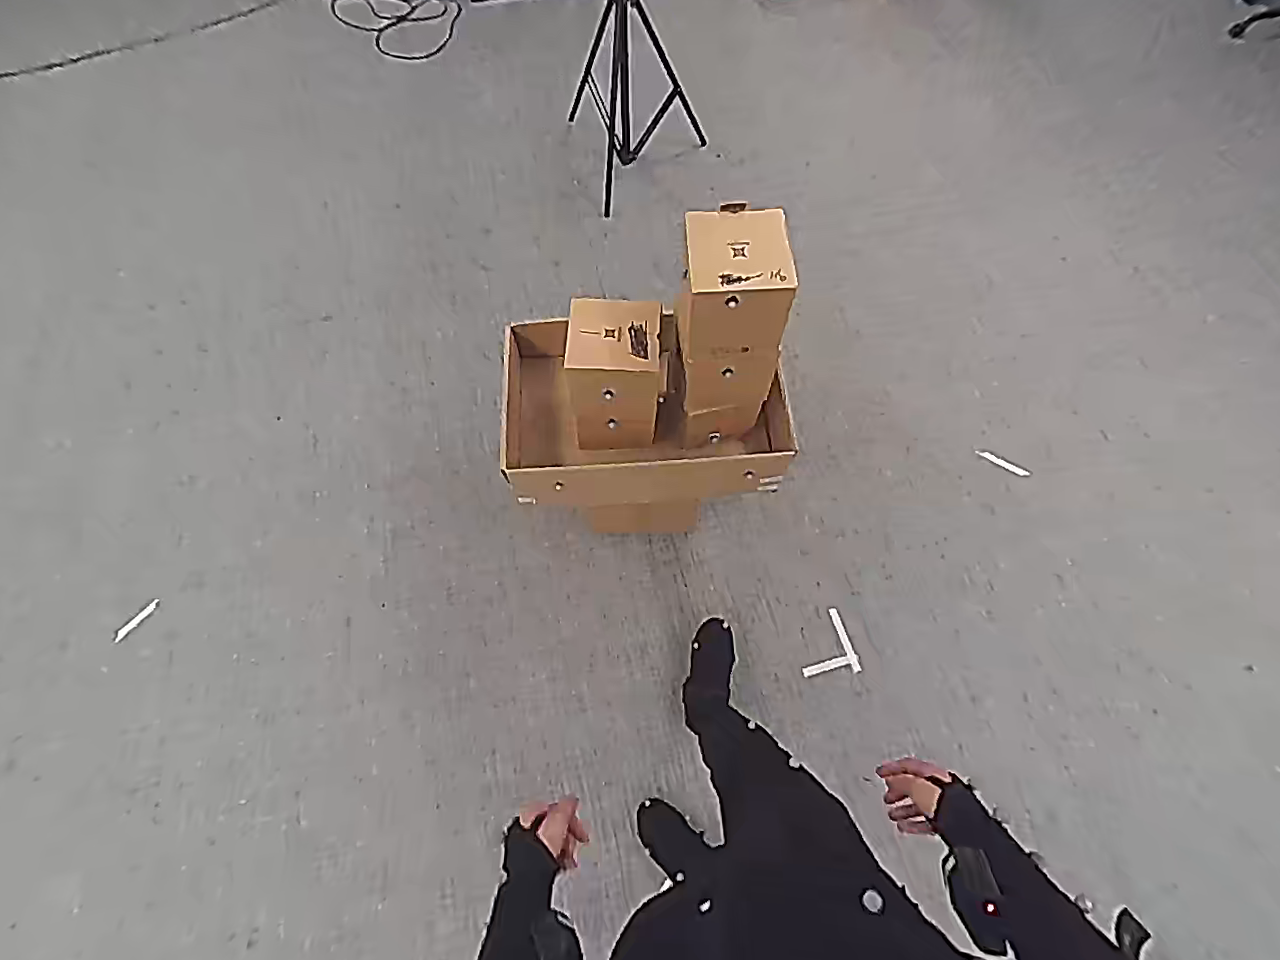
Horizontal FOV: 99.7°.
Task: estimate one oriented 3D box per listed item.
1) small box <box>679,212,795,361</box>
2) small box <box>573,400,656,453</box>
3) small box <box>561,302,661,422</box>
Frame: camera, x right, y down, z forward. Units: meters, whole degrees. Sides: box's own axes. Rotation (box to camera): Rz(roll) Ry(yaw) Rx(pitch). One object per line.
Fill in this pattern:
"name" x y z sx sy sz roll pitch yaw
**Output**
"small box" 0.155 -0.326 0.924 0.168 0.176 0.179 -3 65 2
"small box" -0.059 -0.171 1.221 0.179 0.176 0.168 -2 65 -2
"small box" -0.052 -0.226 1.066 0.179 0.176 0.168 2 65 1
